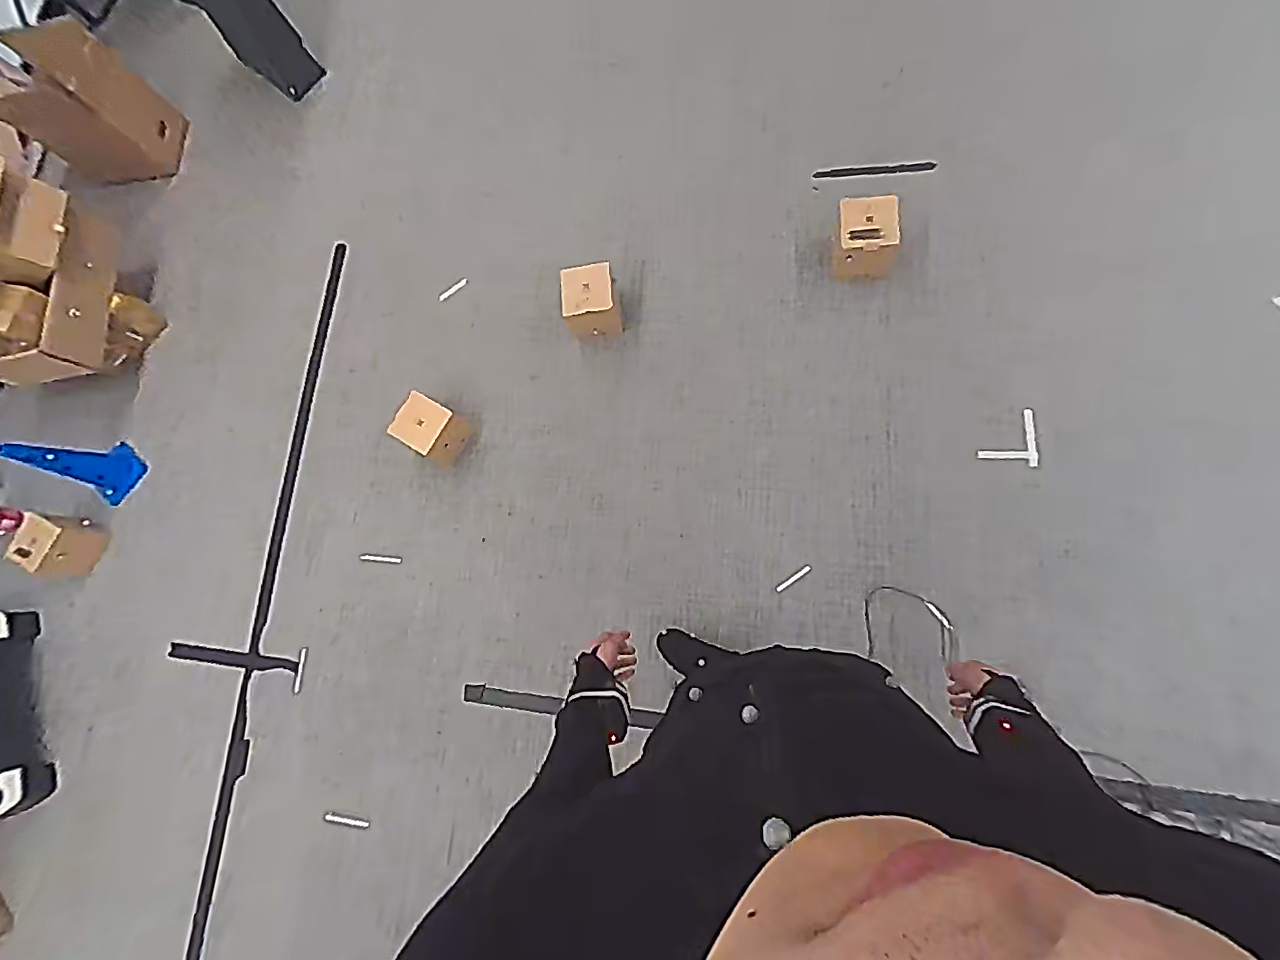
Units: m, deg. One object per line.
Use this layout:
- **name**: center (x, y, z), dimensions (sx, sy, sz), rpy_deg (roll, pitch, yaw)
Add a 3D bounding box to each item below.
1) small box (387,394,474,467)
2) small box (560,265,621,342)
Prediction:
- **small box**: center (-0.695, -0.159, 1.817), dimensions (0.179, 0.176, 0.168), rpy_deg (29, 84, 15)
- **small box**: center (-0.164, -0.590, 1.820), dimensions (0.168, 0.176, 0.179), rpy_deg (-7, 77, 8)
